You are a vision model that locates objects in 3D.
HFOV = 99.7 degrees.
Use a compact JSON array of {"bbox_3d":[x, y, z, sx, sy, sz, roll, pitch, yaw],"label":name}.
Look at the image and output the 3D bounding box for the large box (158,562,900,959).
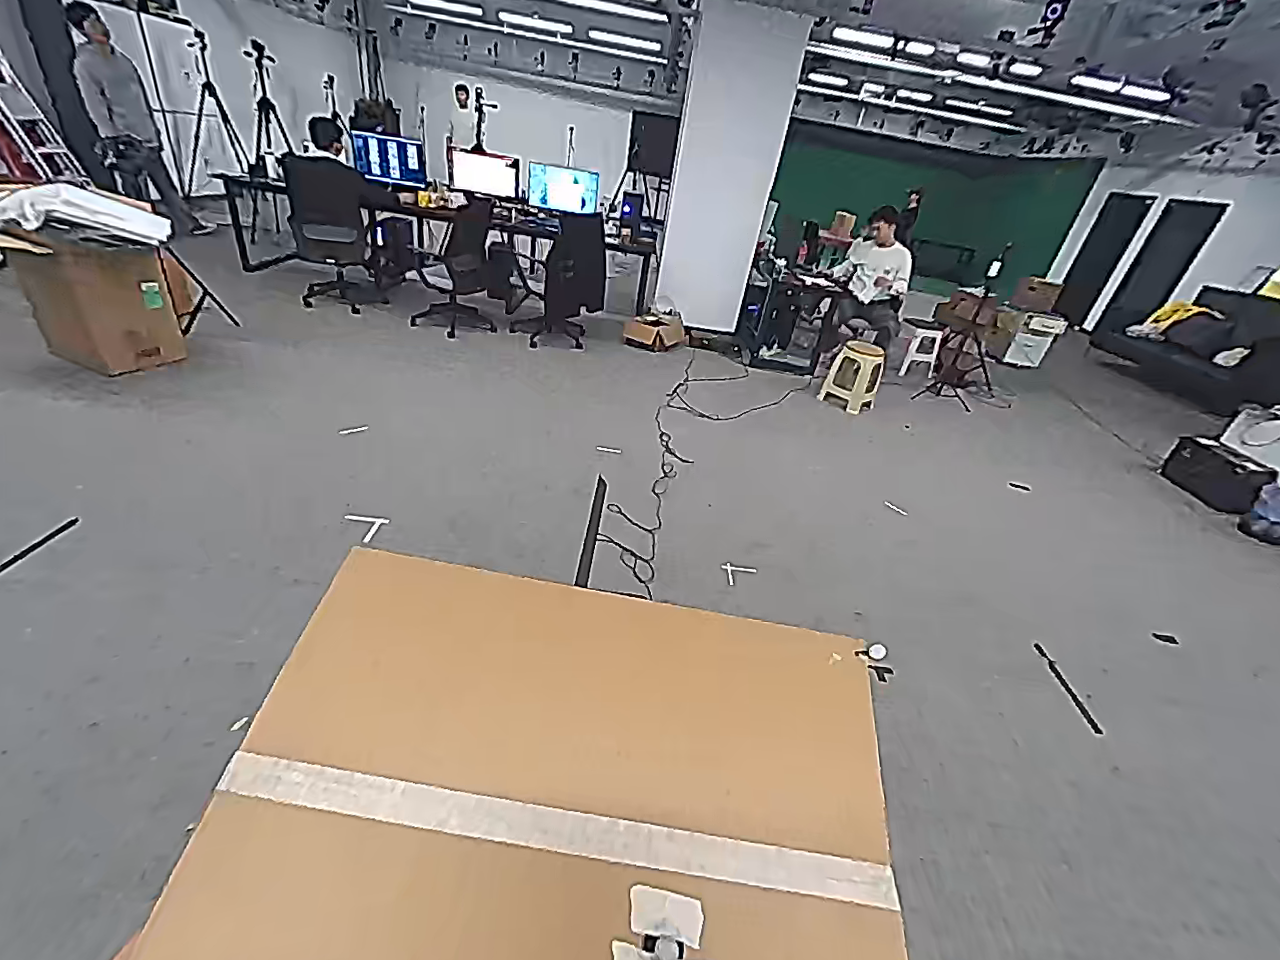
[{"bbox_3d":[-0.060,0.304,0.448,0.408,0.320,0.320,11,53,-1],"label":"large box"}]
